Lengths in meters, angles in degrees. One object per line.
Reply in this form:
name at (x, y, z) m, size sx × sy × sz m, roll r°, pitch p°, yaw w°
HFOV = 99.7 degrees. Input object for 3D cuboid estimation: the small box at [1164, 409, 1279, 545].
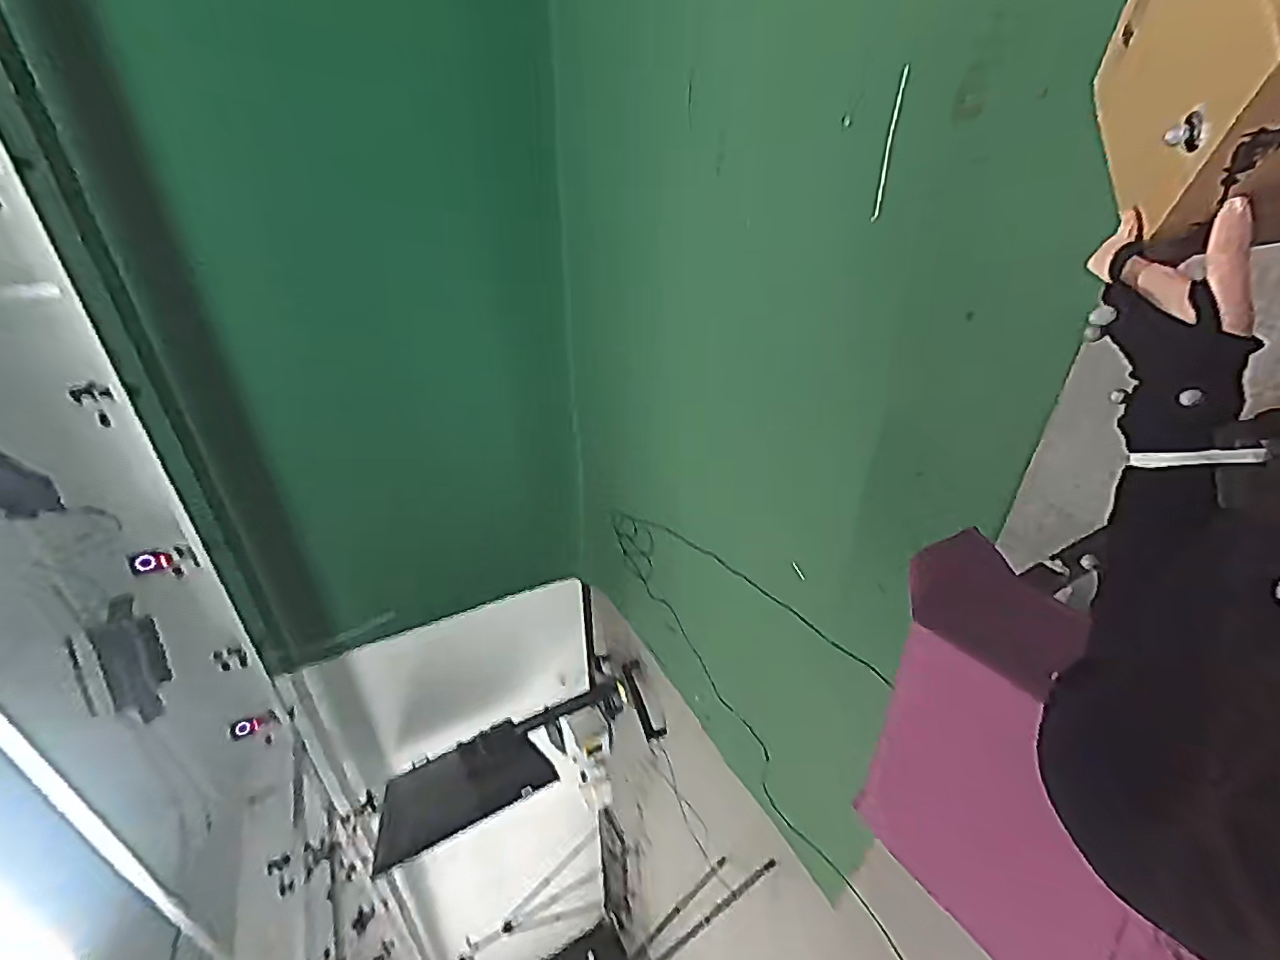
small box at (1.162, -0.014, 1.010) m, size 0.168 × 0.176 × 0.179 m, roll 50°, pitch 145°, yaw 42°

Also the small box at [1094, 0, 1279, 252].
small box at (0.416, -0.273, 0.320) m, size 0.168 × 0.179 × 0.176 m, roll 34°, pitch -124°, yaw -64°
